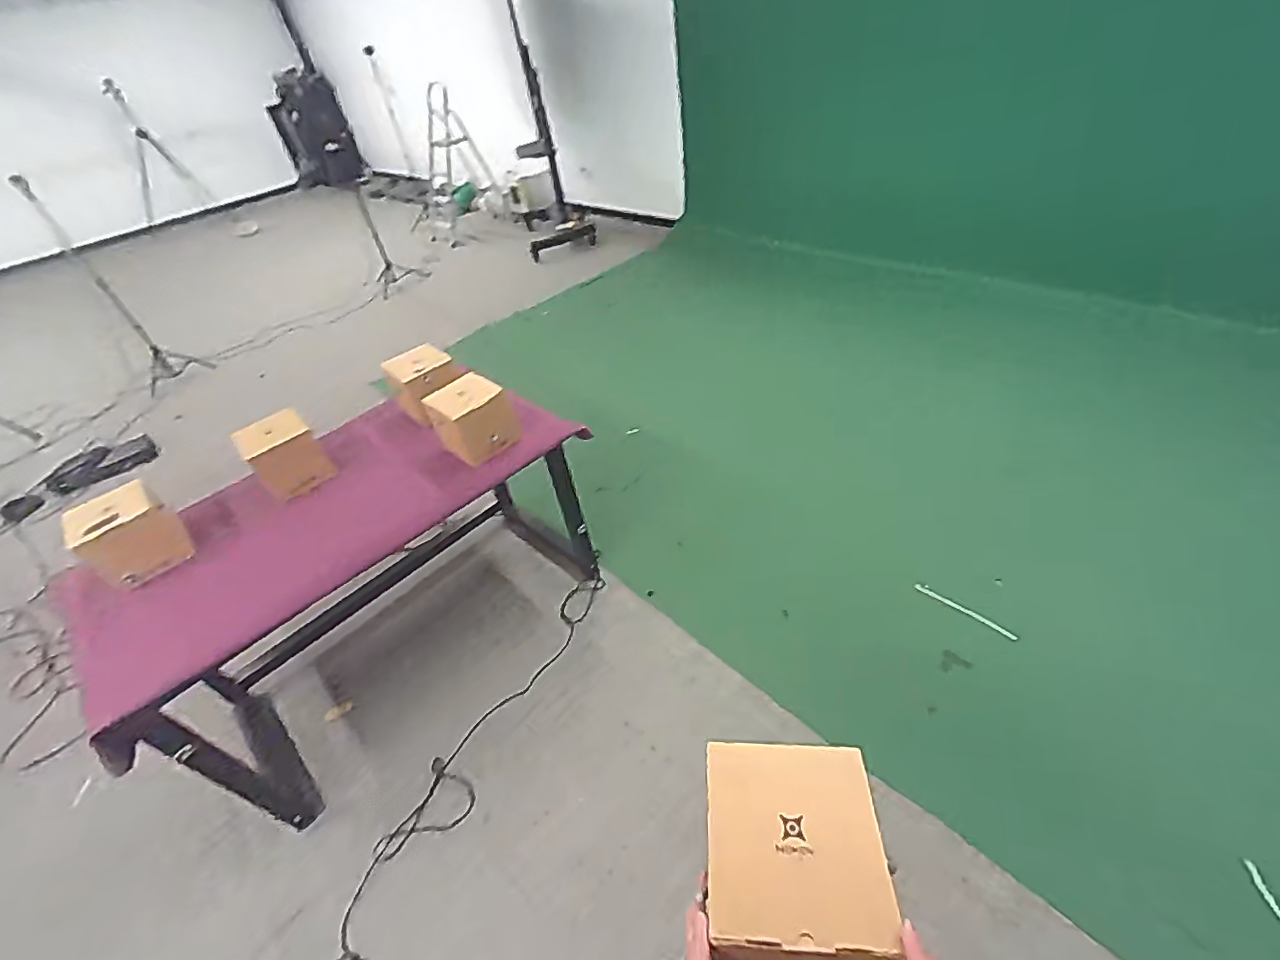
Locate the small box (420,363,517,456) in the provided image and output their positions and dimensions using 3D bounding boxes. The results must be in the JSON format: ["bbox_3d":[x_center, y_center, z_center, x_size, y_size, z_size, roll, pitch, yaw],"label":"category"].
[{"bbox_3d":[-0.471,-0.193,1.500,0.179,0.176,0.168,31,57,34],"label":"small box"}]

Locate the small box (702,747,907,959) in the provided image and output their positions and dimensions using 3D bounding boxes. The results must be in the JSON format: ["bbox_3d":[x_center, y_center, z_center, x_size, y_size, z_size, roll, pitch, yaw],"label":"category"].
[{"bbox_3d":[0.151,0.411,0.570,0.168,0.176,0.179,0,39,5],"label":"small box"}]

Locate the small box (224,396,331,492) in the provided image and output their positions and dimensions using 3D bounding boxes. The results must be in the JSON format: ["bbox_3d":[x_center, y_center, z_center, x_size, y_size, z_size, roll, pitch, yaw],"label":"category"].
[{"bbox_3d":[-0.994,-0.098,1.490,0.168,0.176,0.179,-36,50,-25],"label":"small box"}]

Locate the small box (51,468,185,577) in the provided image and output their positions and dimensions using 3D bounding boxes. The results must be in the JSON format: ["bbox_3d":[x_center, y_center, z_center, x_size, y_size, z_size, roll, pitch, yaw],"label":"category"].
[{"bbox_3d":[-1.253,0.107,1.308,0.168,0.176,0.179,-36,50,-27],"label":"small box"}]

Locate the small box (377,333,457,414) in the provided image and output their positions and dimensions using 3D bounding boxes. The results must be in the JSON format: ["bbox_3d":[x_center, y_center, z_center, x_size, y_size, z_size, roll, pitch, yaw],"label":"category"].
[{"bbox_3d":[-0.677,-0.329,1.681,0.168,0.176,0.179,-37,50,-26],"label":"small box"}]
